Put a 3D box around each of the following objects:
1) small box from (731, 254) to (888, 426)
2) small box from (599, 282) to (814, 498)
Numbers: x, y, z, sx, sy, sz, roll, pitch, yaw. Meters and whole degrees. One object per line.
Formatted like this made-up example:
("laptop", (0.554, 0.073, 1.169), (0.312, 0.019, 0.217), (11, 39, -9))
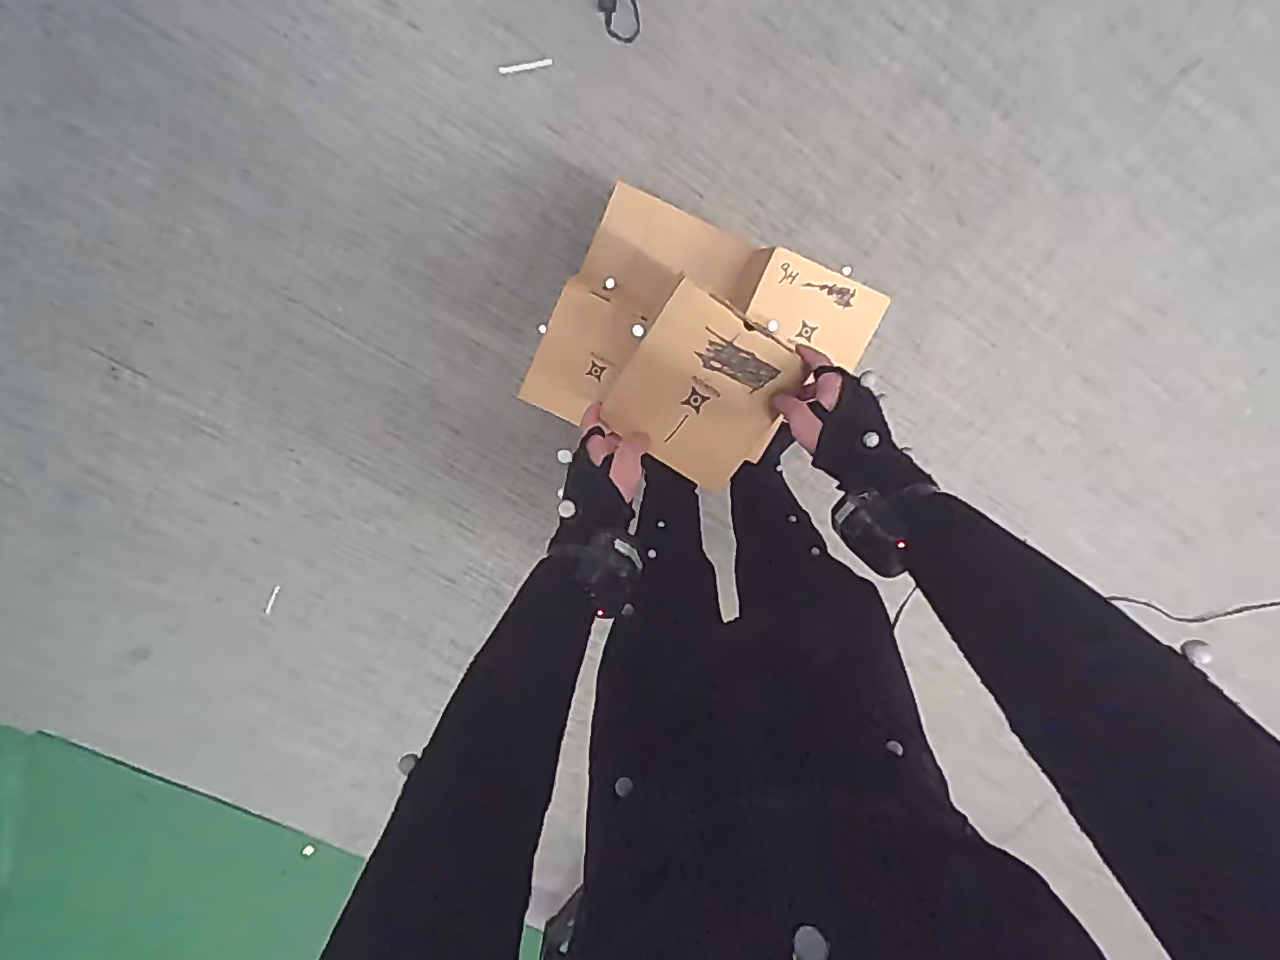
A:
("small box", (0.213, -0.205, 0.779), (0.168, 0.176, 0.179), (21, 110, -6))
("small box", (0.070, -0.116, 0.642), (0.168, 0.176, 0.179), (31, 112, -9))
